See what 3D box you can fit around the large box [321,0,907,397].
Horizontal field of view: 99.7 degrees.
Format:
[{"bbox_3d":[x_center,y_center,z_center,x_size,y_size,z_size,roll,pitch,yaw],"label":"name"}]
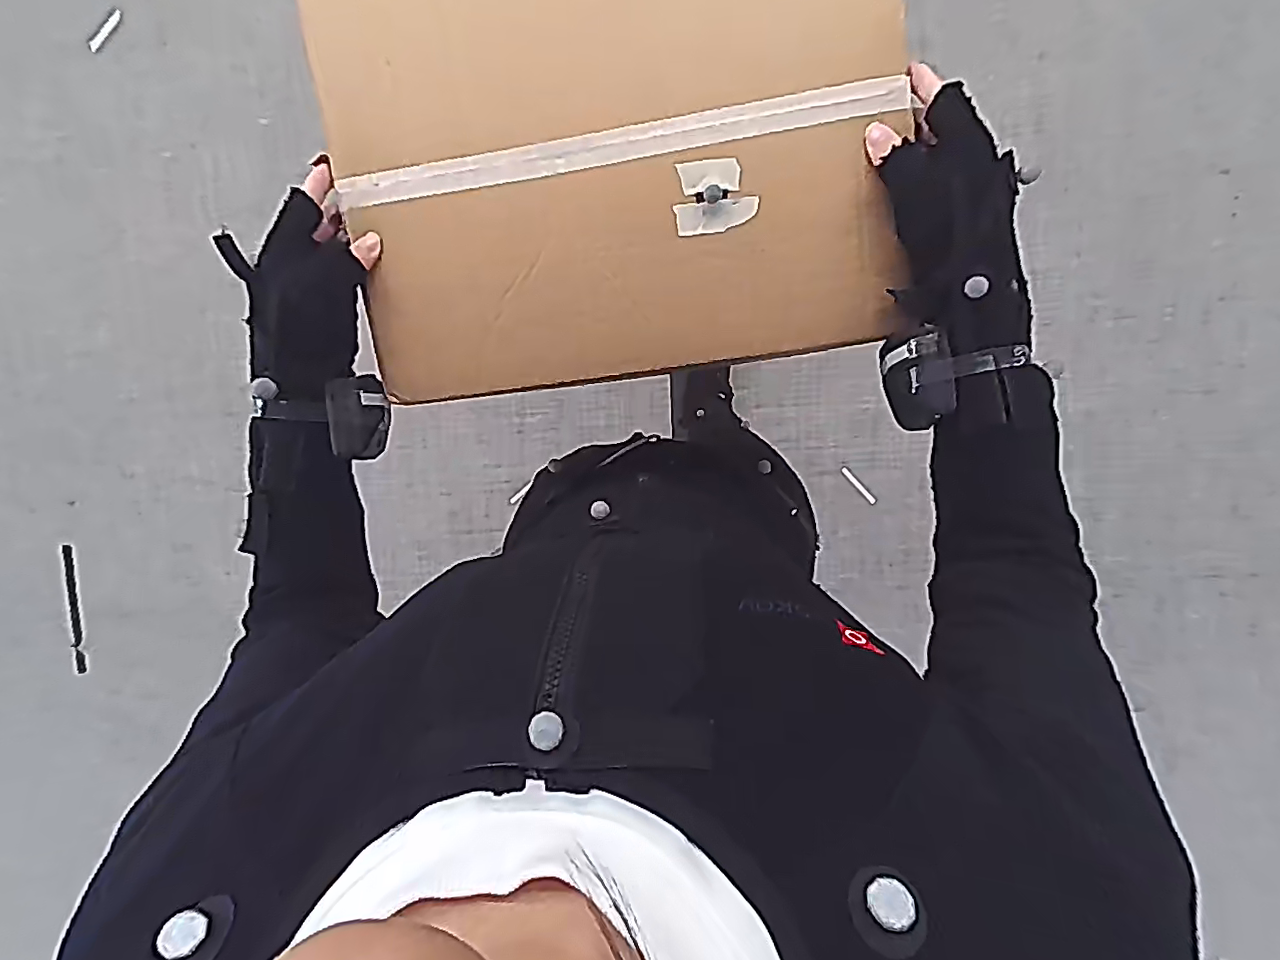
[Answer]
[{"bbox_3d":[-0.008,-0.270,0.543,0.408,0.320,0.320,-7,101,5],"label":"large box"}]
